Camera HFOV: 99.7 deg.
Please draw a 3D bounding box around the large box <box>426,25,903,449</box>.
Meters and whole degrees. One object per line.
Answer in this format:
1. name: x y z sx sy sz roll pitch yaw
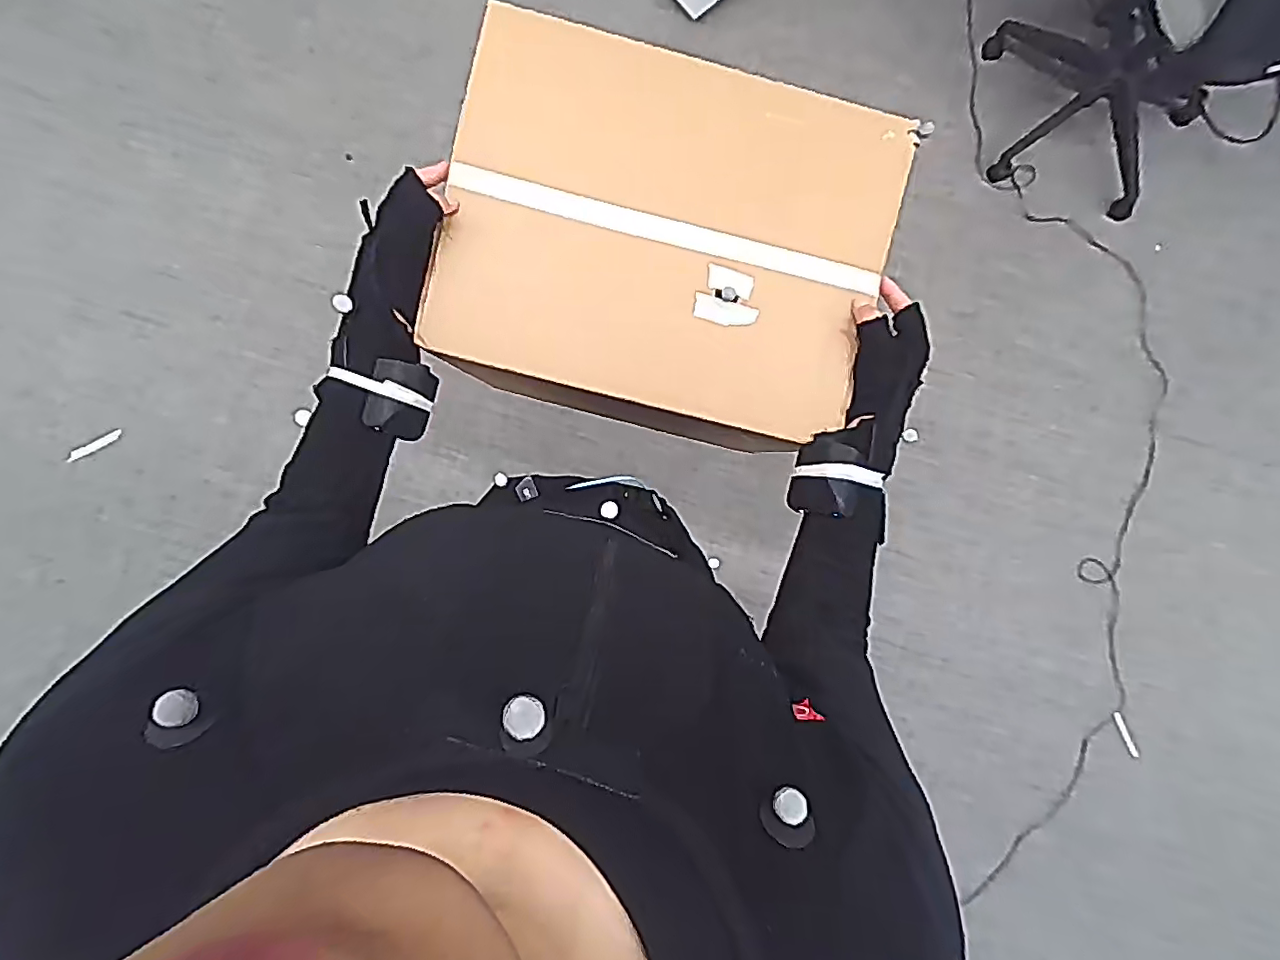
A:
1. large box: 0.016 -0.230 0.655 0.408 0.320 0.320 14 93 -4
